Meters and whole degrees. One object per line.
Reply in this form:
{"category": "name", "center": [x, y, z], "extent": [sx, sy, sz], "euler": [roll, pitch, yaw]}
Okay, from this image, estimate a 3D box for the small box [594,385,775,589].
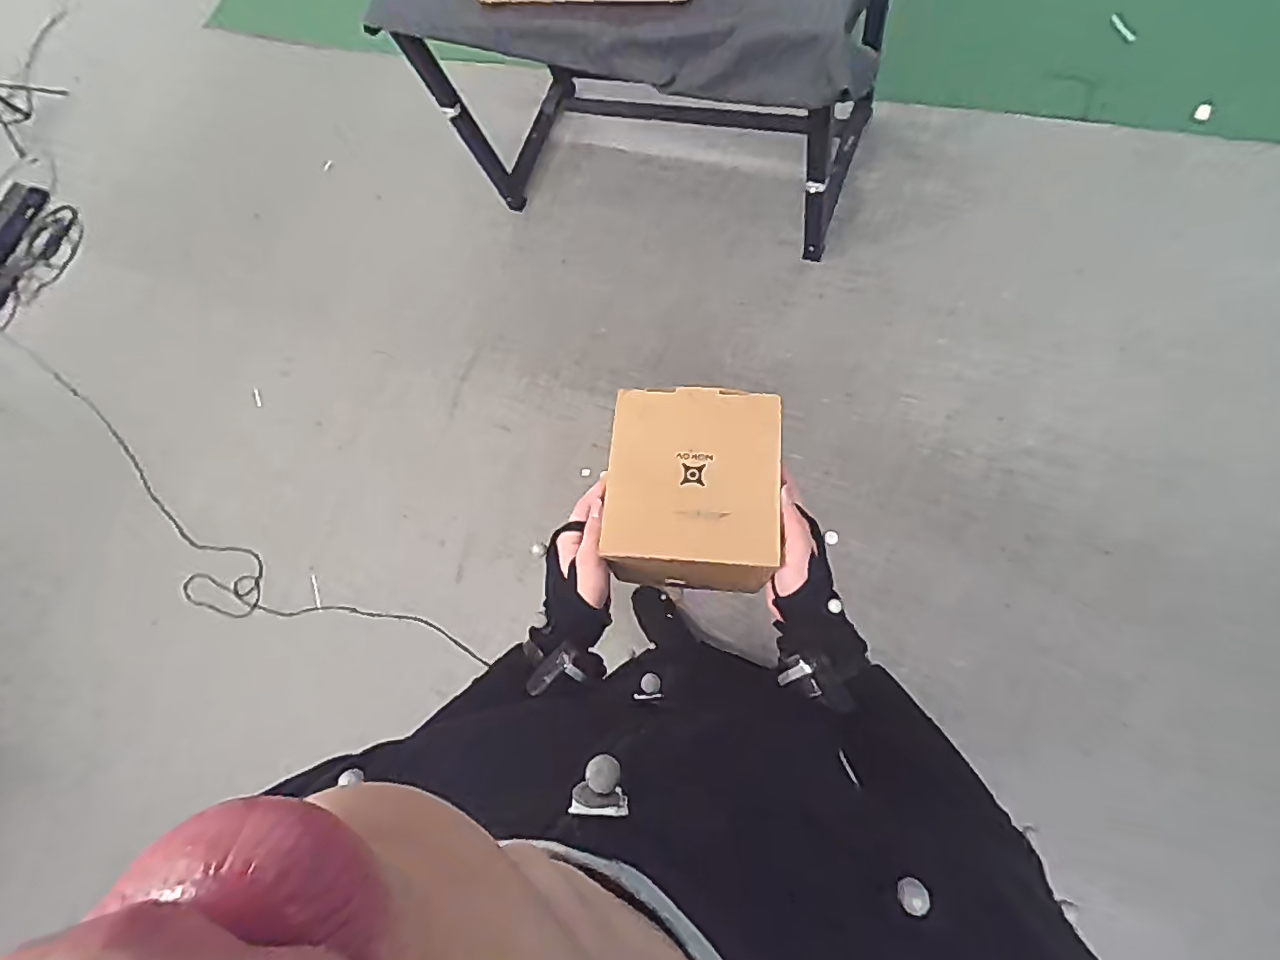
{"category": "small box", "center": [0.051, 0.016, 0.599], "extent": [0.168, 0.176, 0.179], "euler": [4, 72, 6]}
